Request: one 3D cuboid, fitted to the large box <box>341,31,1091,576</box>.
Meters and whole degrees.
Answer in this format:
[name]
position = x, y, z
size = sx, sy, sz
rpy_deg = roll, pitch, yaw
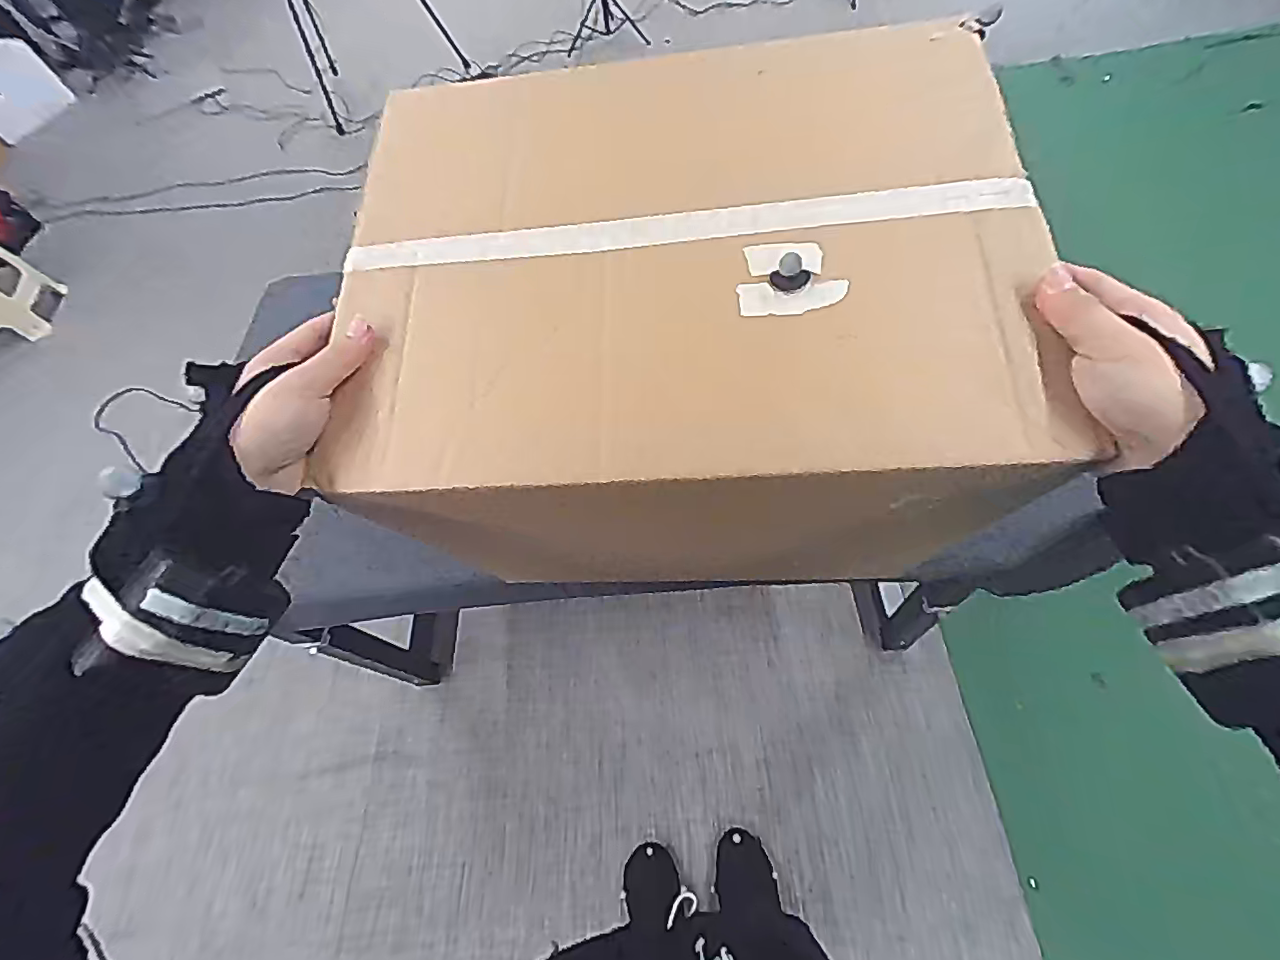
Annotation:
[large box]
position = 0.040, -0.101, 0.474
size = 0.408, 0.320, 0.320
rpy_deg = -3, 71, 6
